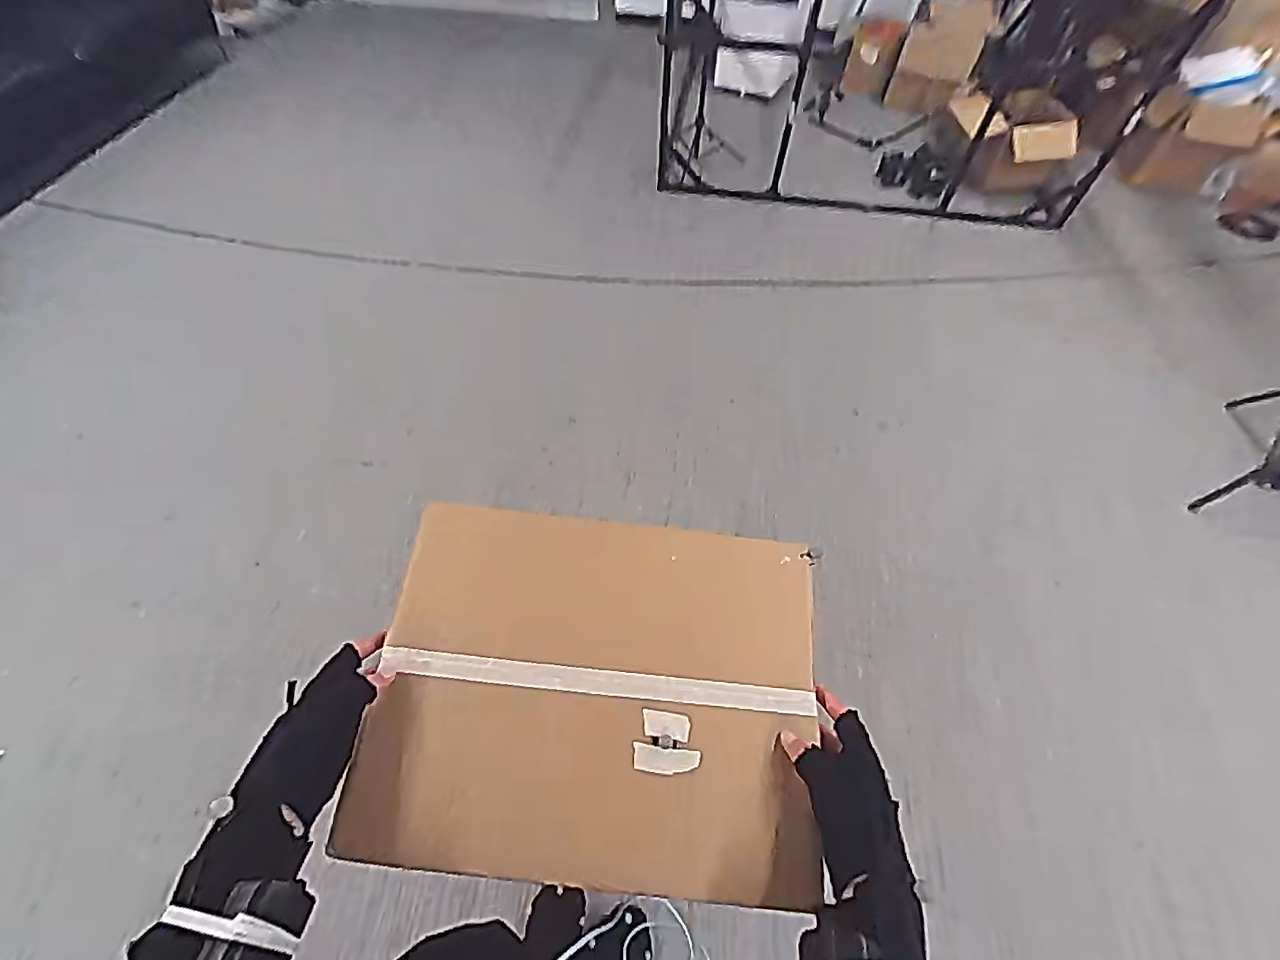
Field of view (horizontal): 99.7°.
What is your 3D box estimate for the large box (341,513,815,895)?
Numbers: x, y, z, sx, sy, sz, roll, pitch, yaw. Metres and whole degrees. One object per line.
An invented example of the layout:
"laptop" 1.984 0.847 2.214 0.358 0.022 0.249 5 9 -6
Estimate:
"large box" -0.048 0.255 0.644 0.408 0.320 0.320 6 64 0
